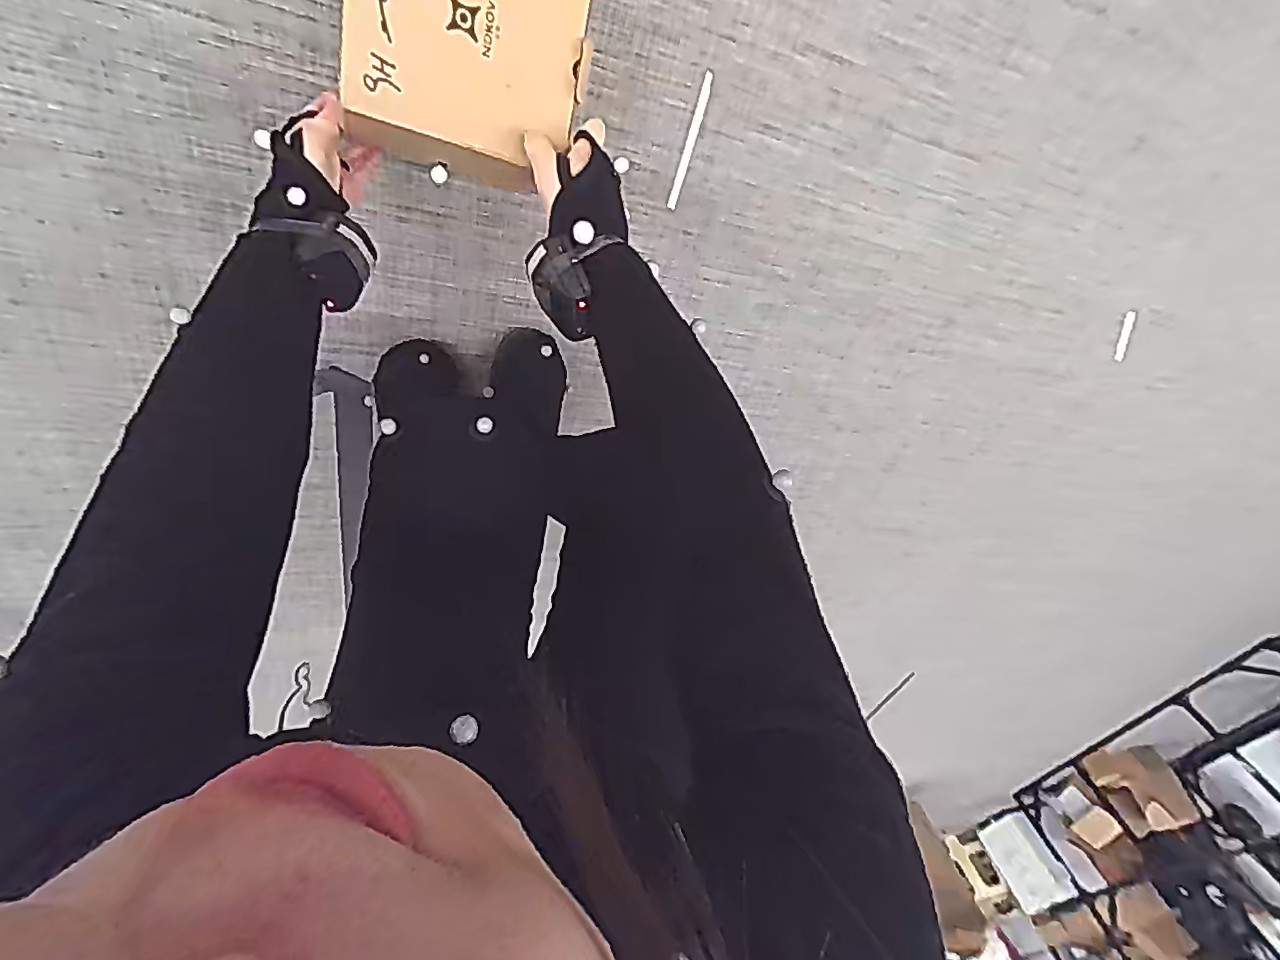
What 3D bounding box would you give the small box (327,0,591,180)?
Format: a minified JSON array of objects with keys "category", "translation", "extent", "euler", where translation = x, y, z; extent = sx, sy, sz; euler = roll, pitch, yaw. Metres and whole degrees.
[{"category":"small box","translation":[-0.160,-0.369,0.458],"extent":[0.179,0.176,0.168],"euler":[2,111,-30]}]
